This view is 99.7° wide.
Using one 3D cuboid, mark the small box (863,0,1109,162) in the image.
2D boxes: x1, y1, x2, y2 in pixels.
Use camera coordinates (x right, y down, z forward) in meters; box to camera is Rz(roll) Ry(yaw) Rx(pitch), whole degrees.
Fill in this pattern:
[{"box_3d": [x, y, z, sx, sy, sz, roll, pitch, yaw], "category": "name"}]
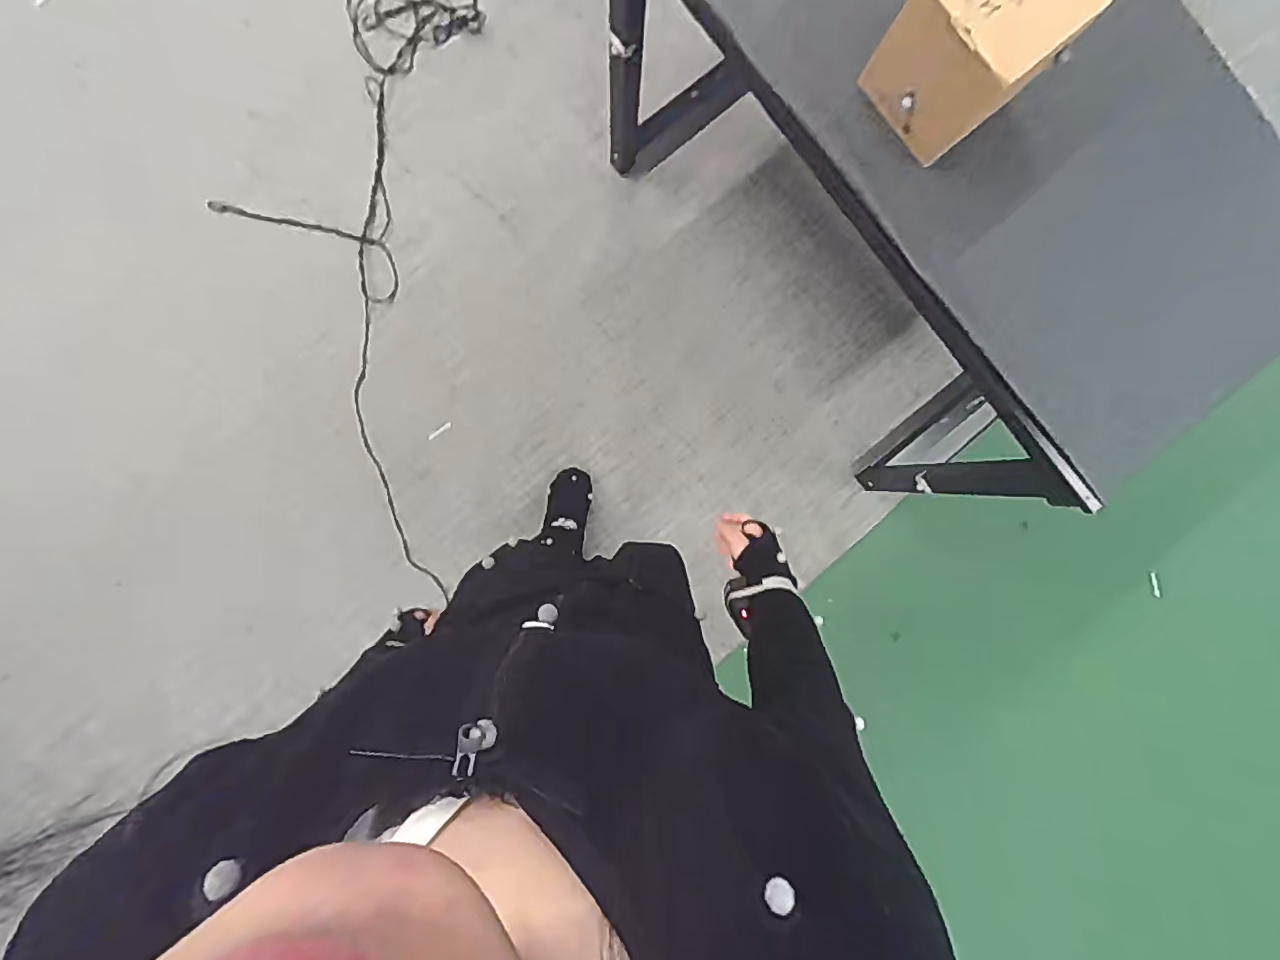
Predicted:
[{"box_3d": [0.436, -0.575, 0.712, 0.179, 0.176, 0.168, -40, 91, -3], "category": "small box"}]
